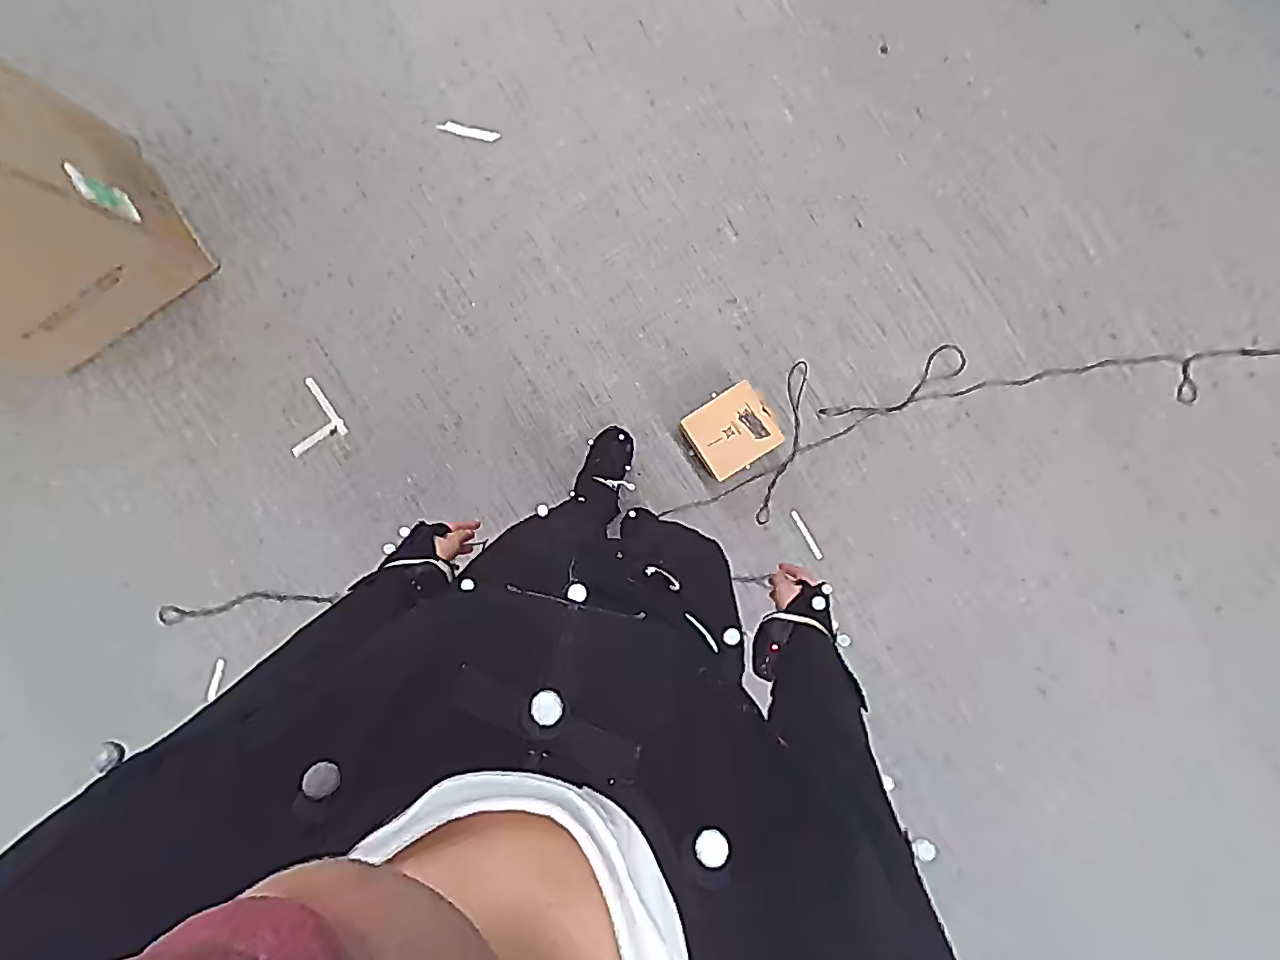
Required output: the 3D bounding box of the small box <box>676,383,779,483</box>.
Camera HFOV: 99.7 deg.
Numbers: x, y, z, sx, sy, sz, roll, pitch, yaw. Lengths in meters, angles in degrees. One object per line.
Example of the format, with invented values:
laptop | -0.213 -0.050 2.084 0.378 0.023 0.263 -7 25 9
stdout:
small box | 0.197 -0.108 1.278 0.179 0.176 0.168 -32 90 4
